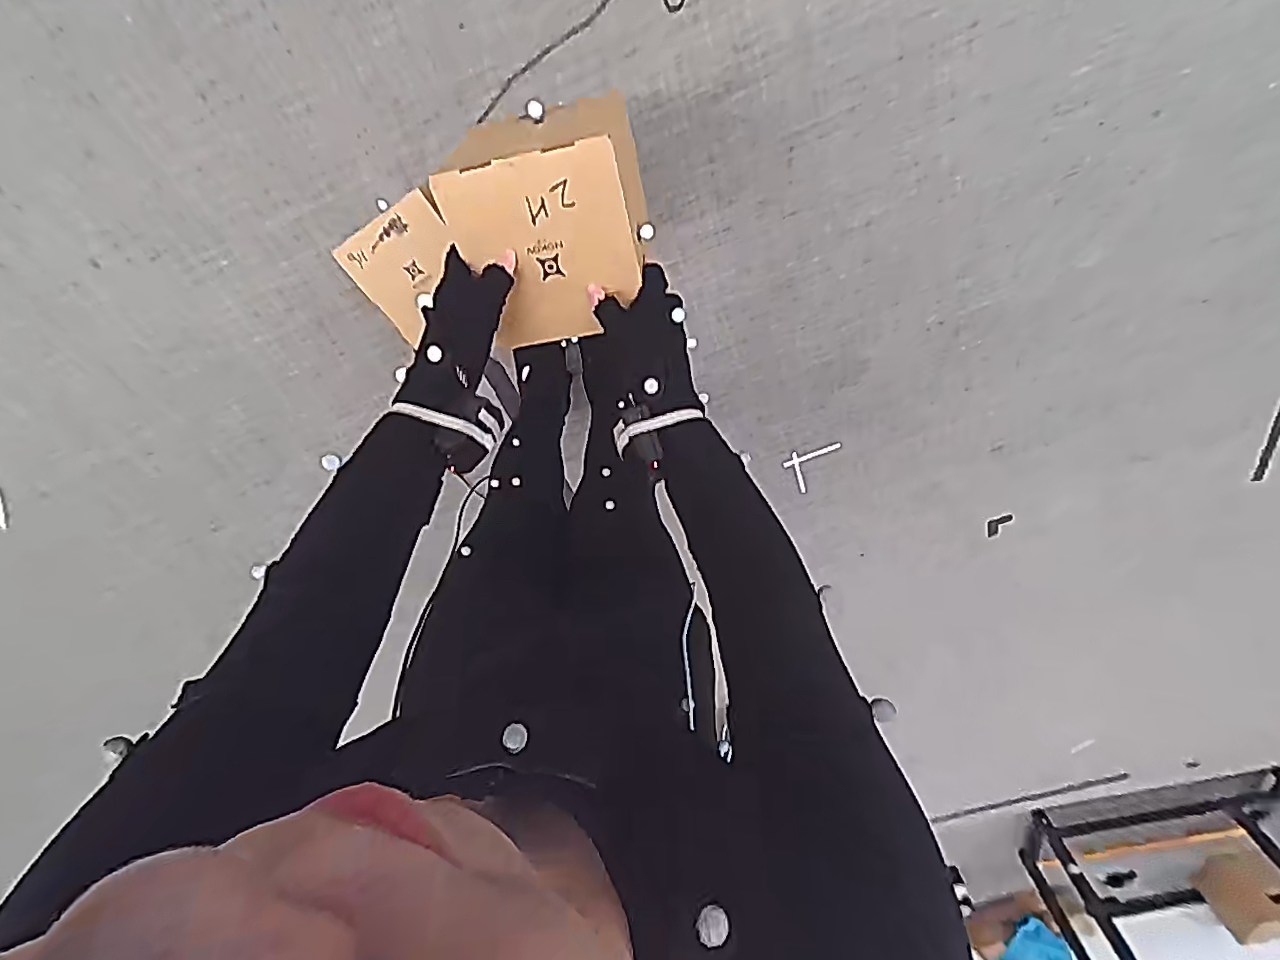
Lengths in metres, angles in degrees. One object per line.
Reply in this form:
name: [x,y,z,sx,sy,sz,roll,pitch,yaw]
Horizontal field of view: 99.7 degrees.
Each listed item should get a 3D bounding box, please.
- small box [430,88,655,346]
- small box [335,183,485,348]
small box: [-0.079,-0.267,0.558,0.168,0.176,0.179,-6,136,10]
small box: [-0.330,-0.350,0.862,0.168,0.176,0.179,-27,123,13]
